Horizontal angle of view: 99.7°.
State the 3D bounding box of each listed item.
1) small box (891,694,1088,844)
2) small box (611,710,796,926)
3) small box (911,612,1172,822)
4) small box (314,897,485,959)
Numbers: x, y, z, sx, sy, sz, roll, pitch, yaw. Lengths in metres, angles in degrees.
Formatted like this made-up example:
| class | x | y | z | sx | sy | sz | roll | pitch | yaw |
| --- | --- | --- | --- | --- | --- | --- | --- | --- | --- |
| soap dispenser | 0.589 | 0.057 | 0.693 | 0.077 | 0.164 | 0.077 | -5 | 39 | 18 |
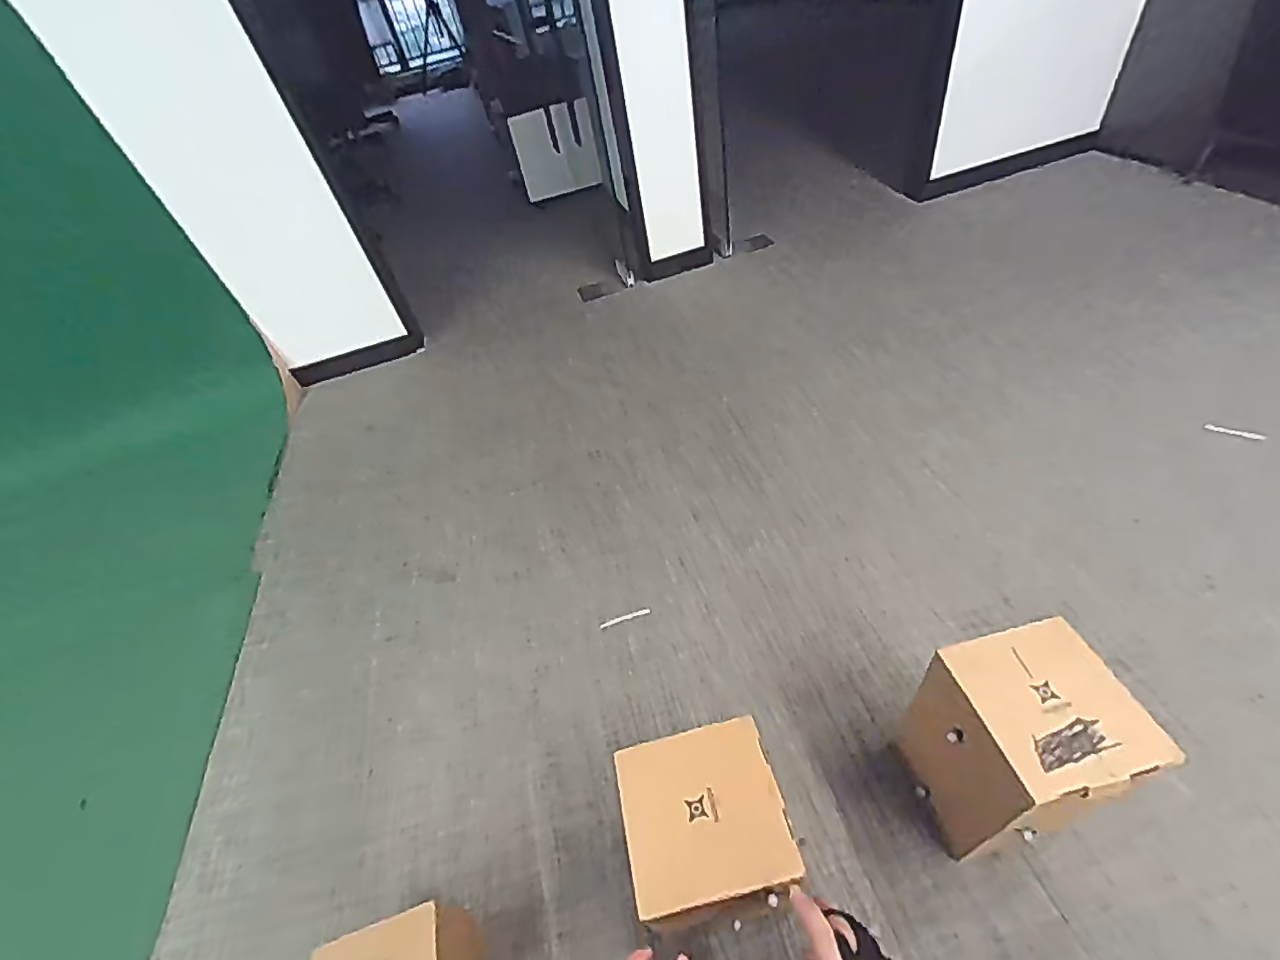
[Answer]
| class | x | y | z | sx | sy | sz | roll | pitch | yaw |
| --- | --- | --- | --- | --- | --- | --- | --- | --- | --- |
| small box | 0.495 | 0.406 | 0.788 | 0.168 | 0.176 | 0.179 | -16 | 46 | -2 |
| small box | 0.077 | 0.411 | 0.655 | 0.179 | 0.176 | 0.168 | -15 | 44 | -1 |
| small box | 0.466 | 0.298 | 0.667 | 0.168 | 0.176 | 0.179 | -15 | 44 | -1 |
| small box | -0.310 | 0.691 | 0.712 | 0.168 | 0.176 | 0.179 | -19 | 44 | -5 |
